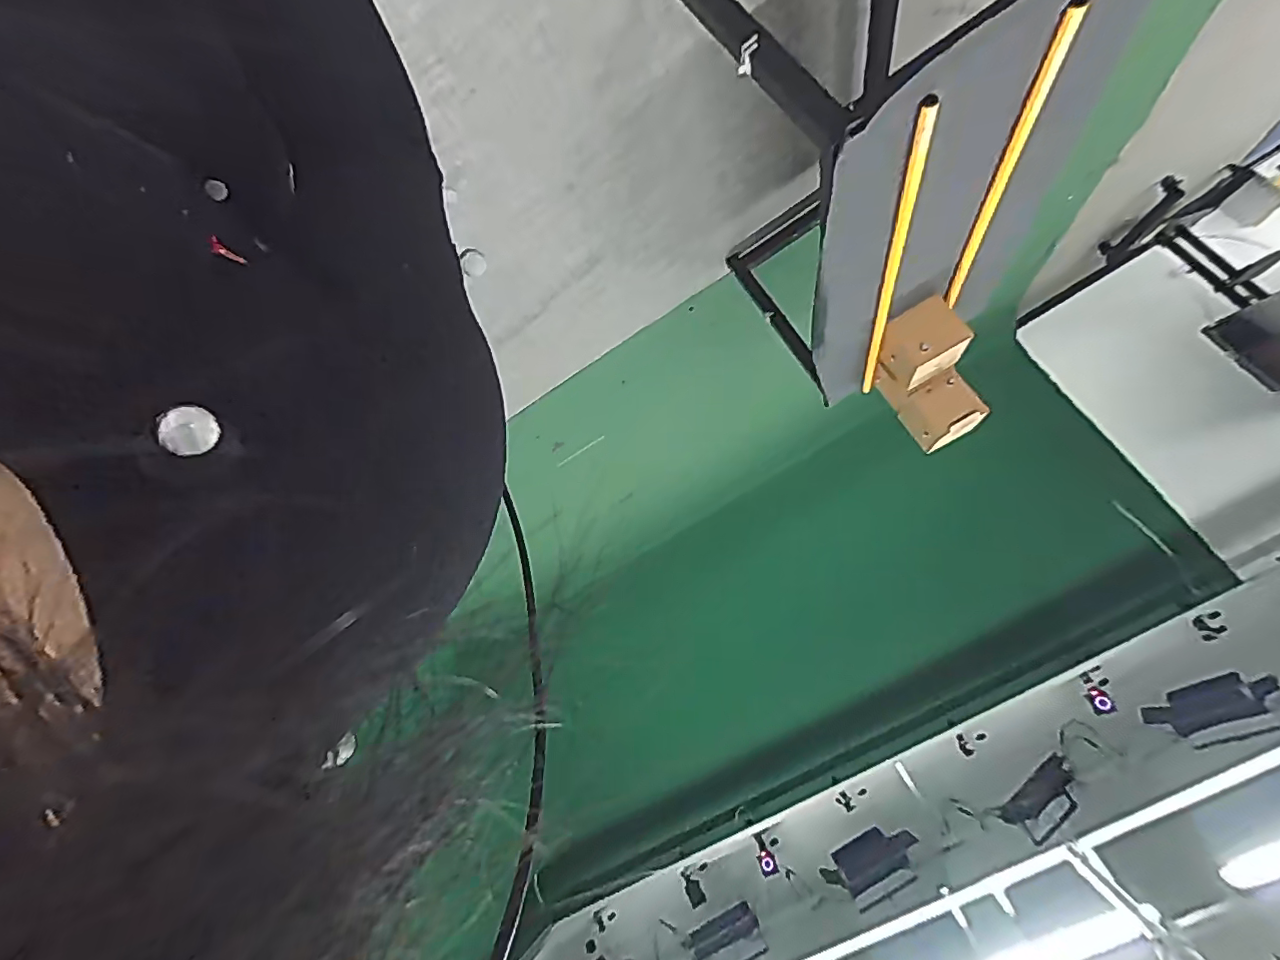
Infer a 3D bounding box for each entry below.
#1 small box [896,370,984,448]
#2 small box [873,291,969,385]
[{"bbox_3d":[0.972,-0.236,1.770,0.168,0.176,0.179,-30,160,4],"label":"small box"},{"bbox_3d":[0.828,-0.423,1.616,0.179,0.176,0.168,-31,160,6],"label":"small box"}]
